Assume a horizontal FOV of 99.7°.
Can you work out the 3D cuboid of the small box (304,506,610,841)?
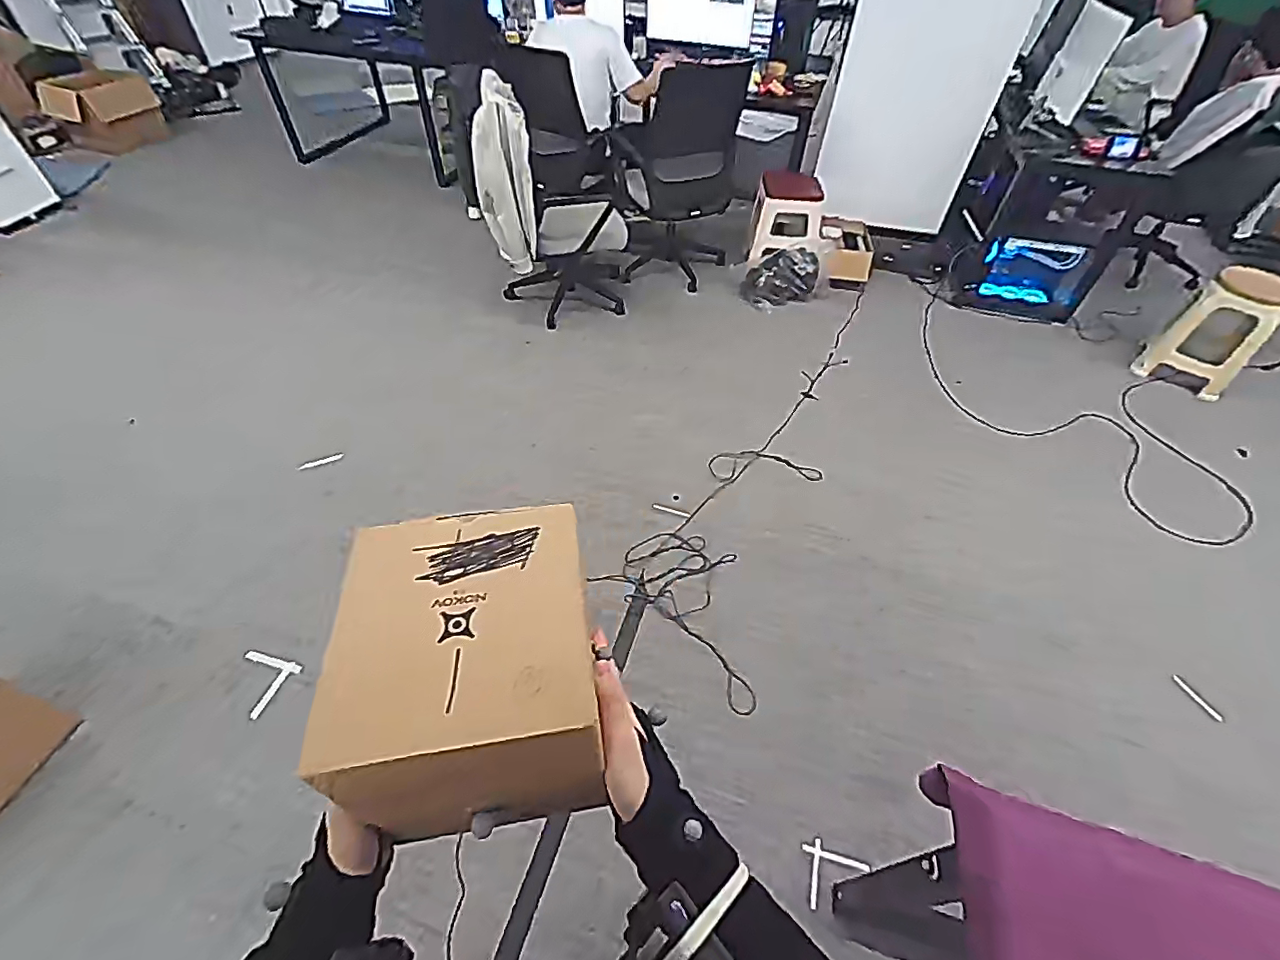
[{"bbox_3d":[-0.117,0.146,0.417,0.168,0.176,0.179,-8,46,-6],"label":"small box"}]
